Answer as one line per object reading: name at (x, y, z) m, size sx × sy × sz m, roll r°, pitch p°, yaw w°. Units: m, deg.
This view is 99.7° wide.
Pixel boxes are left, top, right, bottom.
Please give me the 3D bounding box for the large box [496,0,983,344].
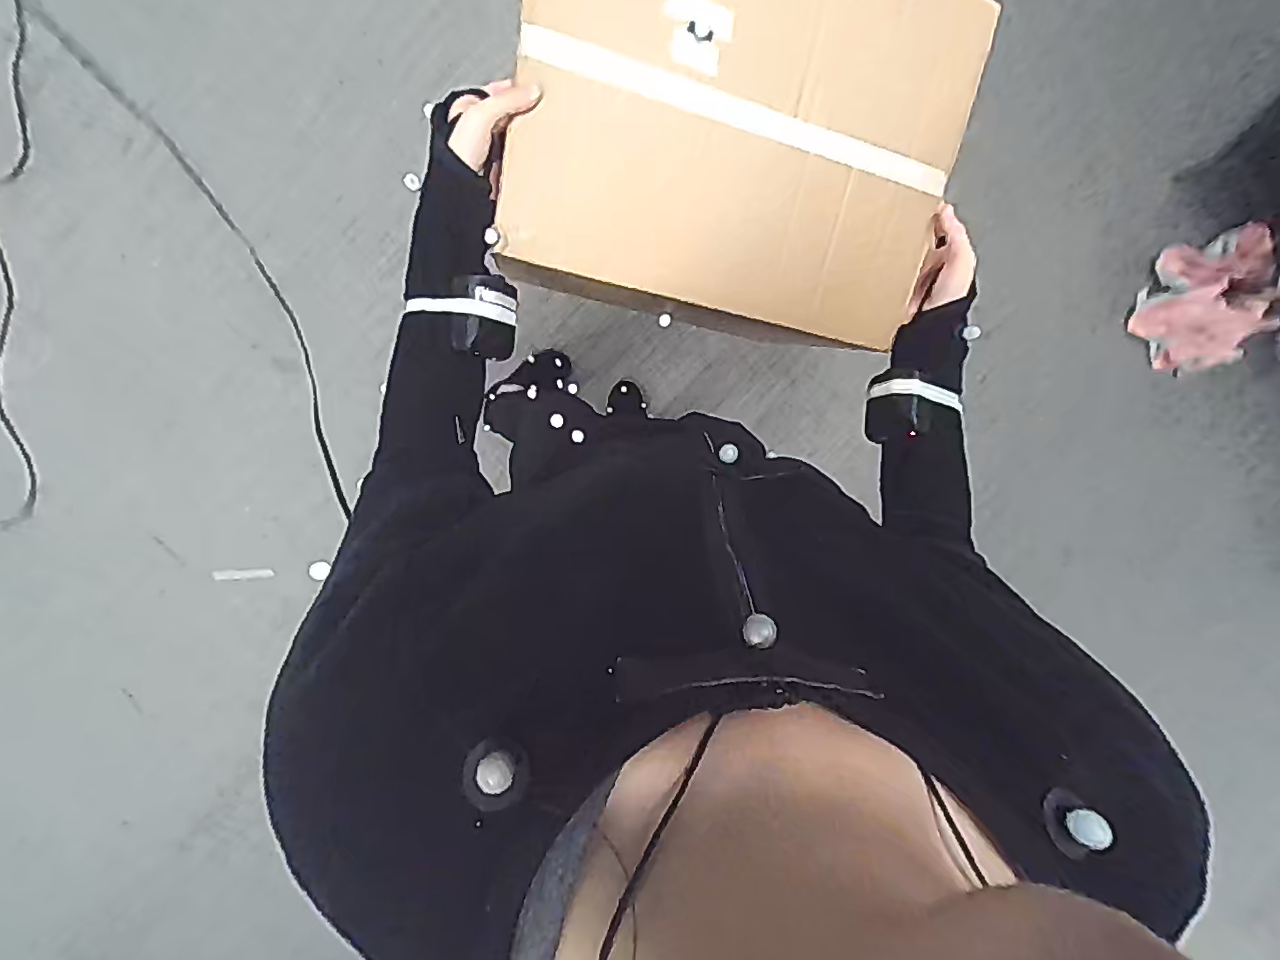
large box at (0.067, -0.354, 0.623) m, size 0.408 × 0.320 × 0.320 m, roll 9°, pitch 104°, yaw -13°
